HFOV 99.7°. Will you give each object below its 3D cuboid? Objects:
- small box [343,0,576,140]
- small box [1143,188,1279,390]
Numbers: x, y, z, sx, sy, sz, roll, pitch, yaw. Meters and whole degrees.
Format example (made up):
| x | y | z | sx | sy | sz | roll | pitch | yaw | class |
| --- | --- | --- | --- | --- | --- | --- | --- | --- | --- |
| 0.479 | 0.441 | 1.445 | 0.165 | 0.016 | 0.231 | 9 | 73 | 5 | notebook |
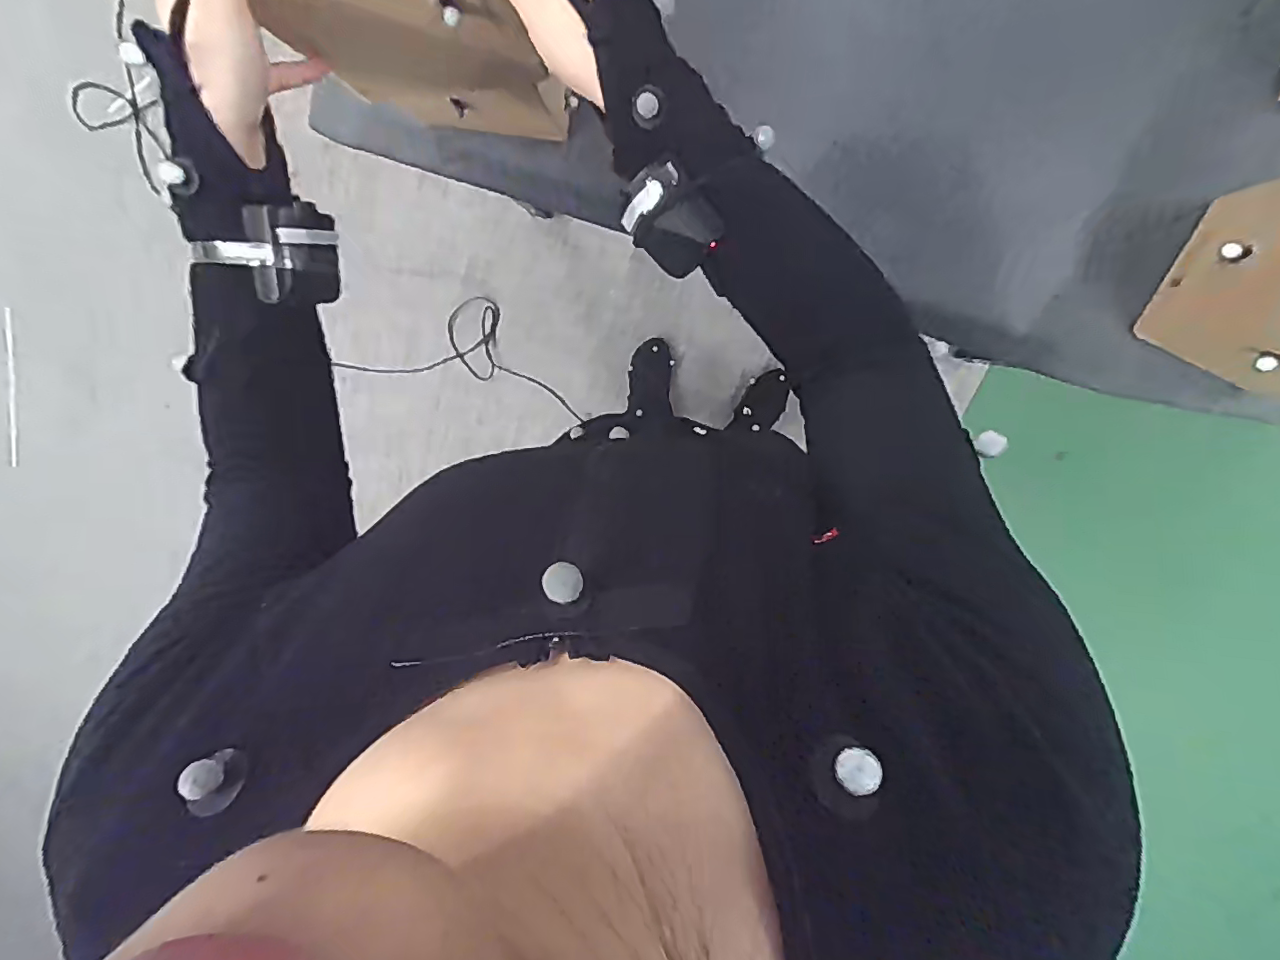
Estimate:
| x | y | z | sx | sy | sz | roll | pitch | yaw | class |
| --- | --- | --- | --- | --- | --- | --- | --- | --- | --- |
| -0.164 | -0.457 | 0.534 | 0.179 | 0.176 | 0.168 | 8 | 107 | 2 | small box |
| 0.693 | -0.193 | 0.552 | 0.179 | 0.176 | 0.168 | 24 | 102 | -2 | small box |
